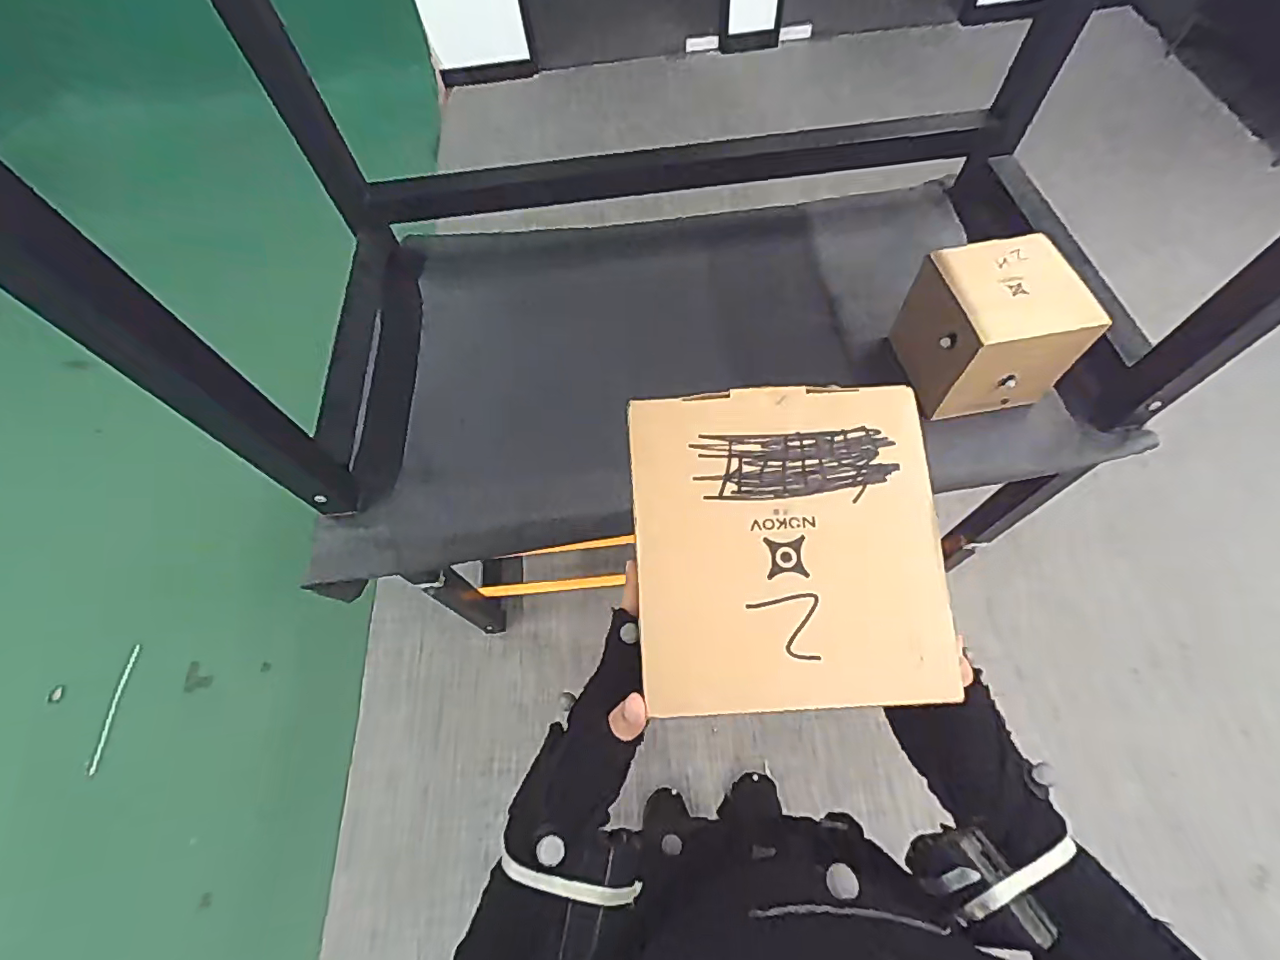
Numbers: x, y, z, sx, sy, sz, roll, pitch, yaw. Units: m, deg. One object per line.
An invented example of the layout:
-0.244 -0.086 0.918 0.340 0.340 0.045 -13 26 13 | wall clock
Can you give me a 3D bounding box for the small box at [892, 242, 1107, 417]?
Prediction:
0.497 -0.206 0.781 0.168 0.176 0.179 -9 61 -1 | small box
